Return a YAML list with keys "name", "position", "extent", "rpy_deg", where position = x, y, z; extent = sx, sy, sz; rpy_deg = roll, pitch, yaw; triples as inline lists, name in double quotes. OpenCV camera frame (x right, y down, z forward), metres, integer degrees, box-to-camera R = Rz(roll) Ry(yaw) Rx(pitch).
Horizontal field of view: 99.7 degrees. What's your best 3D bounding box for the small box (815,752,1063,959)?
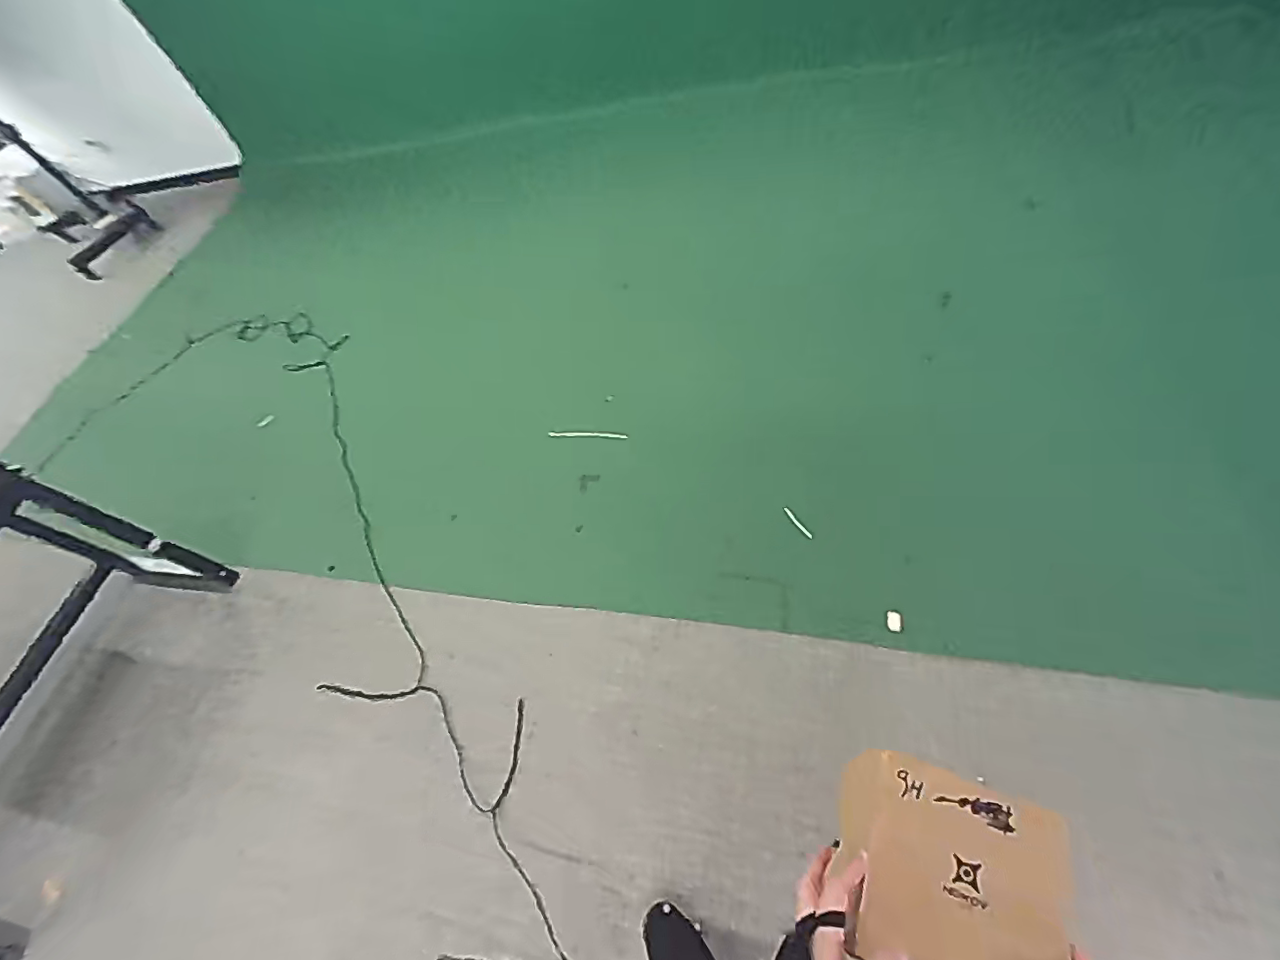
- name: "small box"
  position: [0.281, 0.402, 0.535]
  extent: [0.168, 0.176, 0.179]
  rpy_deg: [16, 59, 16]
